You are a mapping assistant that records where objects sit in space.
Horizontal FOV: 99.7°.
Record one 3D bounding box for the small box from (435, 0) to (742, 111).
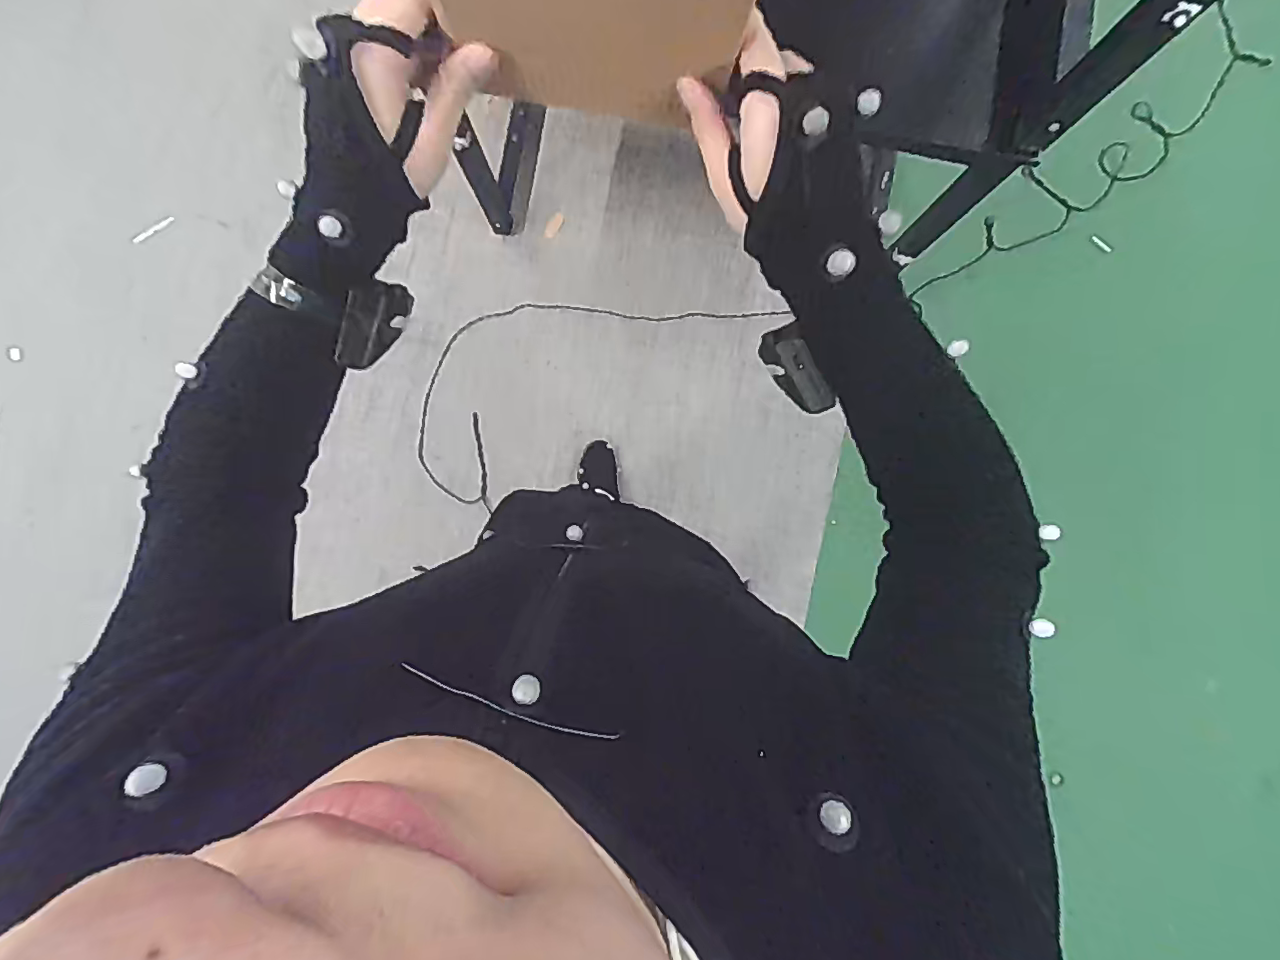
[{"bbox_3d":[-0.022,-0.330,0.278,0.179,0.176,0.168,7,93,-5],"label":"small box"}]
